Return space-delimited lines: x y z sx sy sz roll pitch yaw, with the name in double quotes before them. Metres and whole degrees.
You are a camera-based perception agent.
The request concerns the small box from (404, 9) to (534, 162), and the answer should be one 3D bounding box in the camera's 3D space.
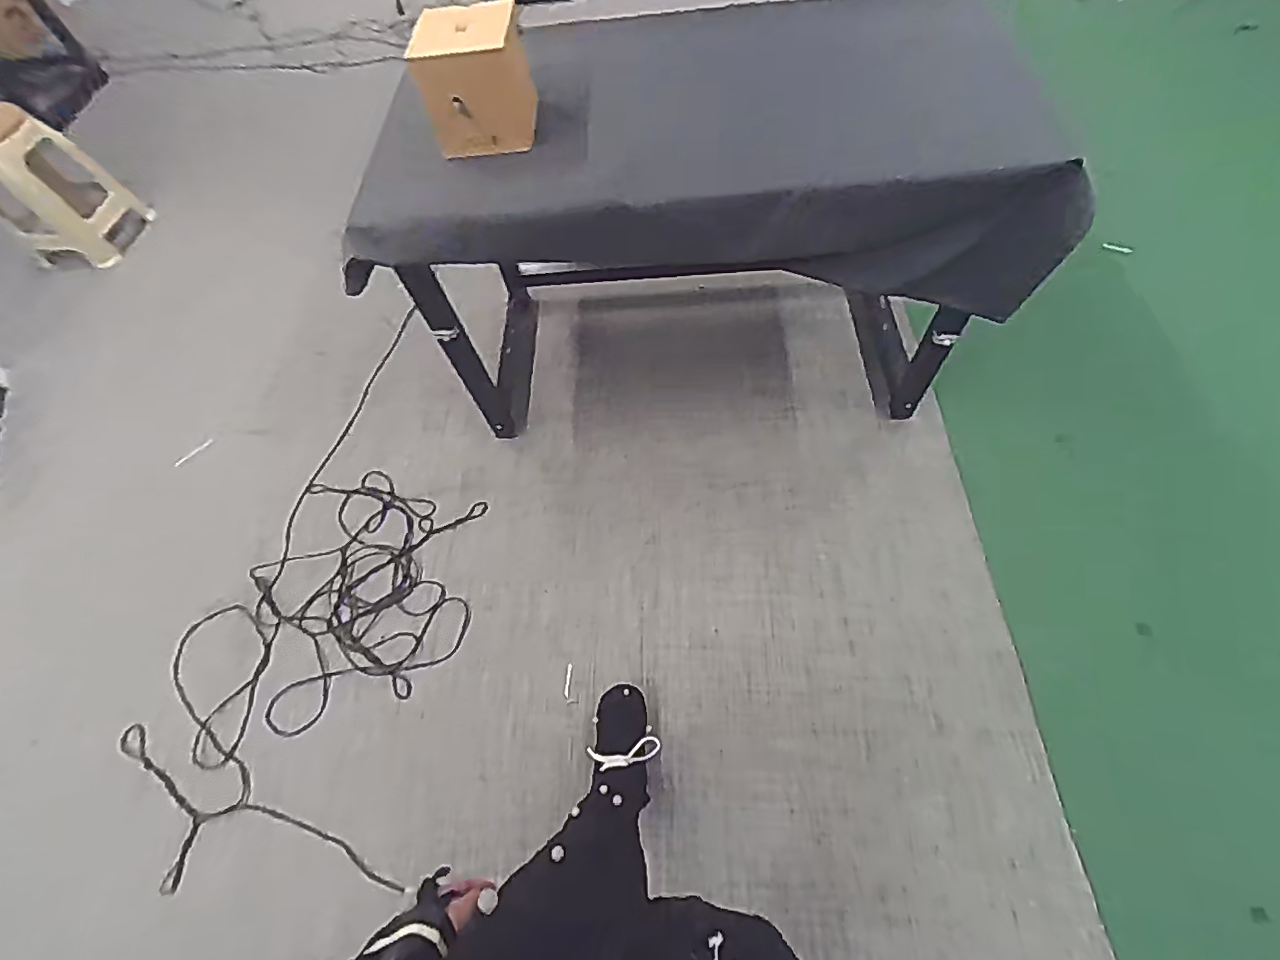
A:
"small box" -0.295 -0.700 0.974 0.168 0.176 0.179 -4 60 3
